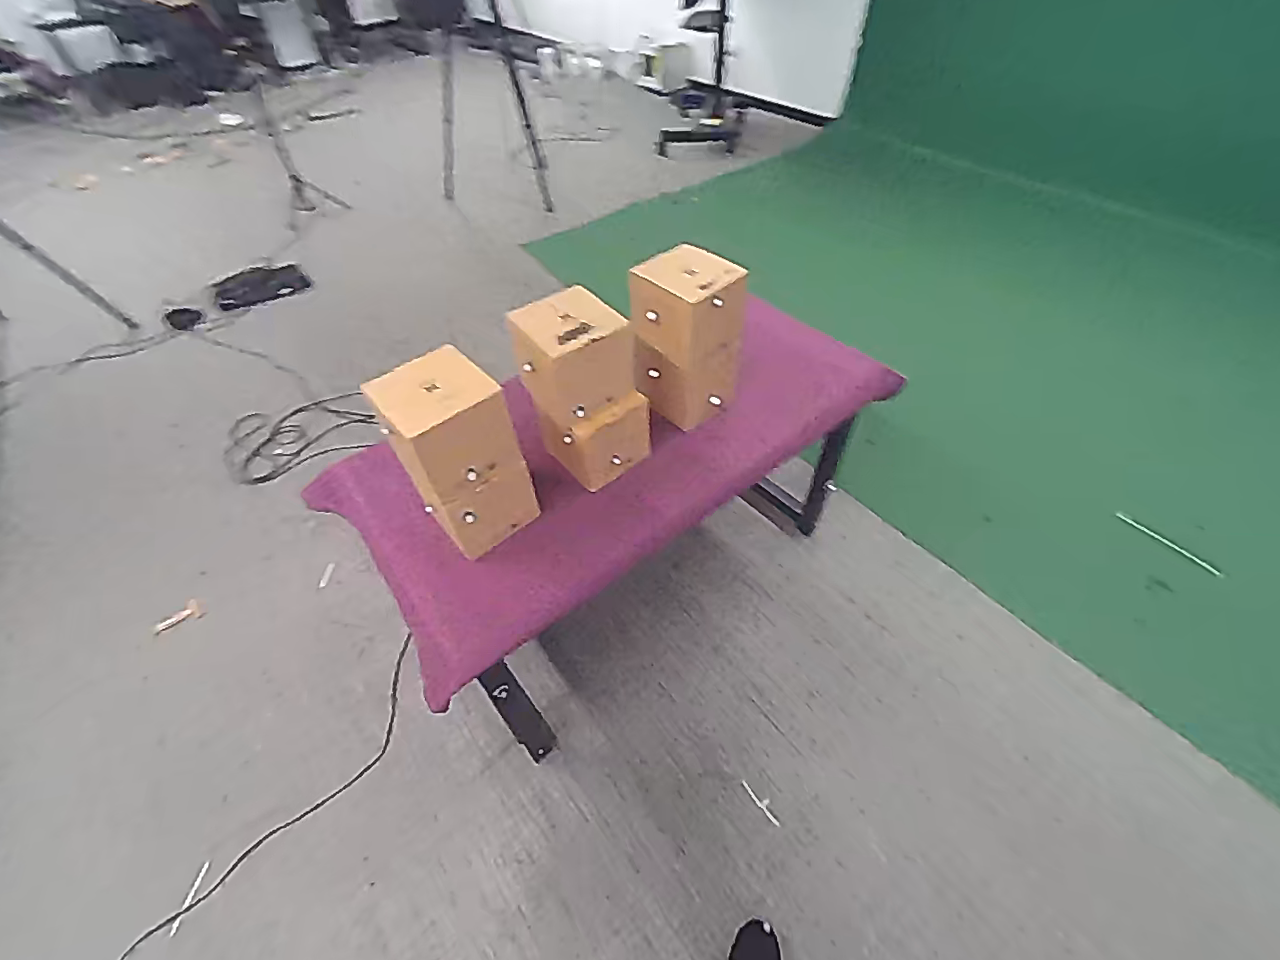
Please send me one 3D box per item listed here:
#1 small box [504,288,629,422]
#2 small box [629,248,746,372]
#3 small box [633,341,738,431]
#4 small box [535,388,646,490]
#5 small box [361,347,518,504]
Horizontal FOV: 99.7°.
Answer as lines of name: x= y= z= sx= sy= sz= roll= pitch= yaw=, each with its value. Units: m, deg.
small box: x=-0.133 y=-0.234 z=1.038 sx=0.168 sy=0.176 sz=0.179 roll=-30 pitch=54 yaw=-22
small box: x=0.096 y=-0.354 z=1.131 sx=0.168 sy=0.176 sz=0.179 roll=-36 pitch=56 yaw=-25
small box: x=0.102 y=-0.245 z=1.253 sx=0.168 sy=0.176 sz=0.179 roll=-35 pitch=57 yaw=-25
small box: x=-0.103 y=-0.112 z=1.149 sx=0.168 sy=0.176 sz=0.179 roll=-34 pitch=57 yaw=-25
small box: x=-0.333 y=-0.091 z=0.920 sx=0.168 sy=0.176 sz=0.179 roll=-35 pitch=56 yaw=-25
